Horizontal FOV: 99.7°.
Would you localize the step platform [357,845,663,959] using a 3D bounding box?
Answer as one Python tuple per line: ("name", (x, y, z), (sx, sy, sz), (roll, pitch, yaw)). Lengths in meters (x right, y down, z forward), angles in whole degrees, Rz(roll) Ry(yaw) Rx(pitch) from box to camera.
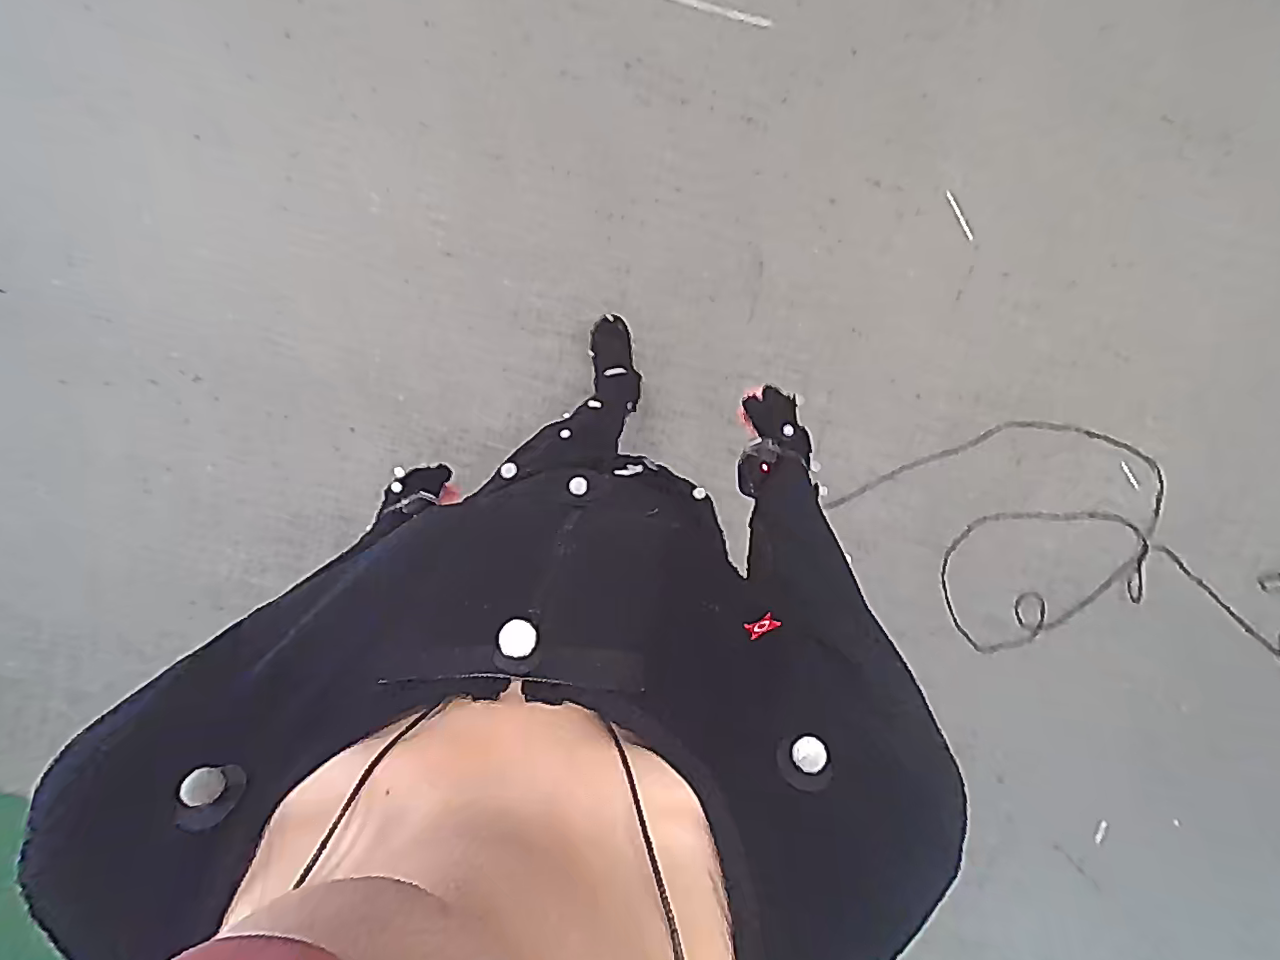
("step platform", (-0.293, 1.110, 1.283), (0.684, 0.204, 0.286), (14, 95, -5))
